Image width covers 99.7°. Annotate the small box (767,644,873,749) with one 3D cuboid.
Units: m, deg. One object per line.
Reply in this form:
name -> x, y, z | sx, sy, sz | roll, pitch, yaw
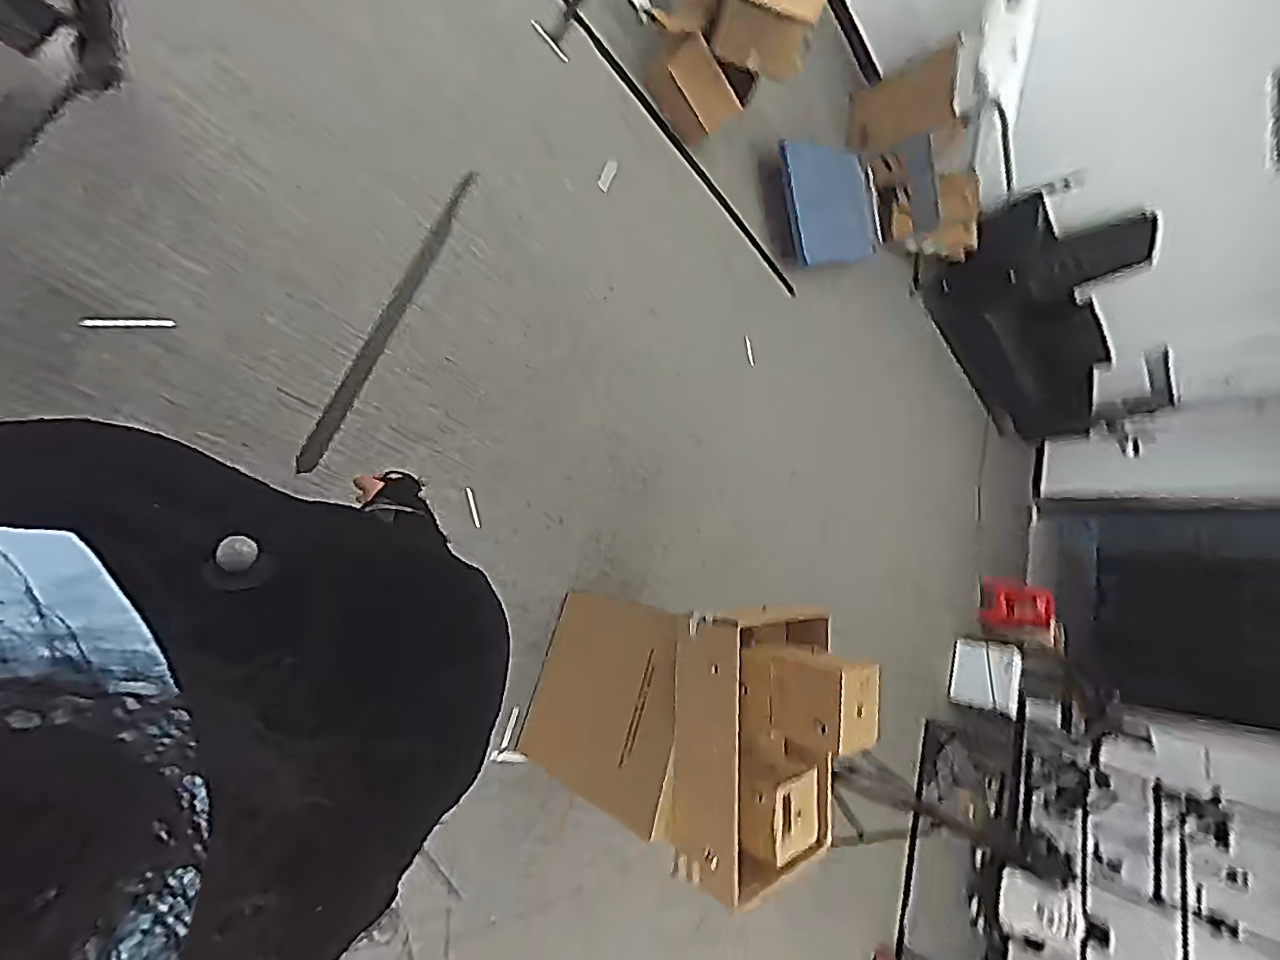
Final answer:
small box -> 0.402, 0.478, 1.219 | 0.168, 0.176, 0.179 | 11, 80, -41
